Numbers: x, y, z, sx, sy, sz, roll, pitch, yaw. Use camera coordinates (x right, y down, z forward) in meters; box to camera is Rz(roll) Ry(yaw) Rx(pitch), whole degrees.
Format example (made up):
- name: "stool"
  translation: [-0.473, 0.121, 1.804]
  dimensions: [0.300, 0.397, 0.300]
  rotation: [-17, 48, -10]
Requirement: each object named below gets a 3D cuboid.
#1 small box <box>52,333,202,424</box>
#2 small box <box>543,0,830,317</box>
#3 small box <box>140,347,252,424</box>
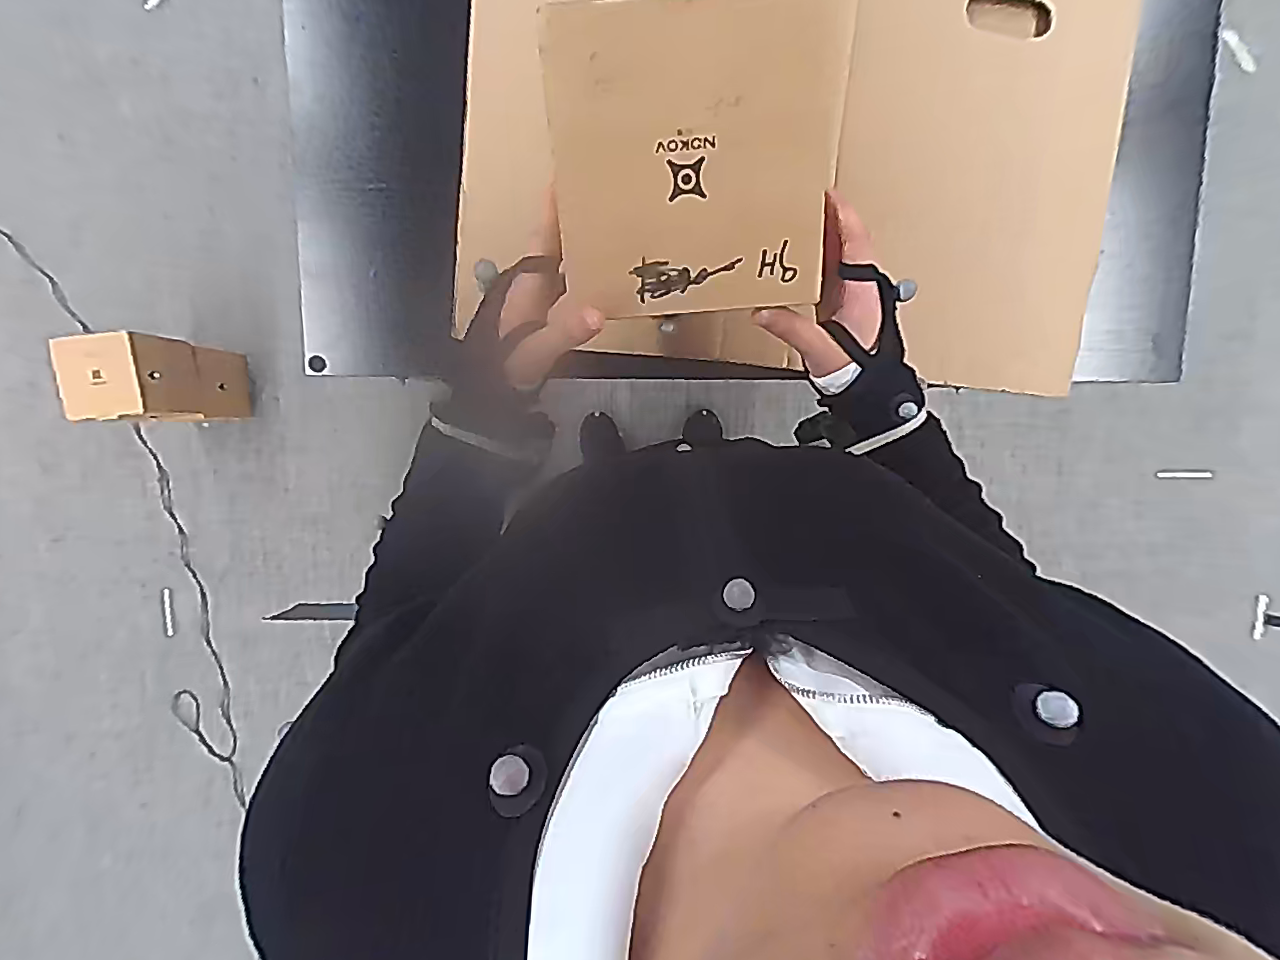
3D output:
- name: "small box"
  translation: [-1.132, -0.222, 1.211]
  dimensions: [0.168, 0.176, 0.179]
  rotation: [-7, 96, -1]
- name: "small box"
  translation: [0.032, -0.217, 0.402]
  dimensions: [0.168, 0.176, 0.179]
  rotation: [-3, 107, 3]
- name: "small box"
  translation: [-1.133, -0.235, 1.373]
  dimensions: [0.168, 0.176, 0.179]
  rotation: [-4, 97, 0]
